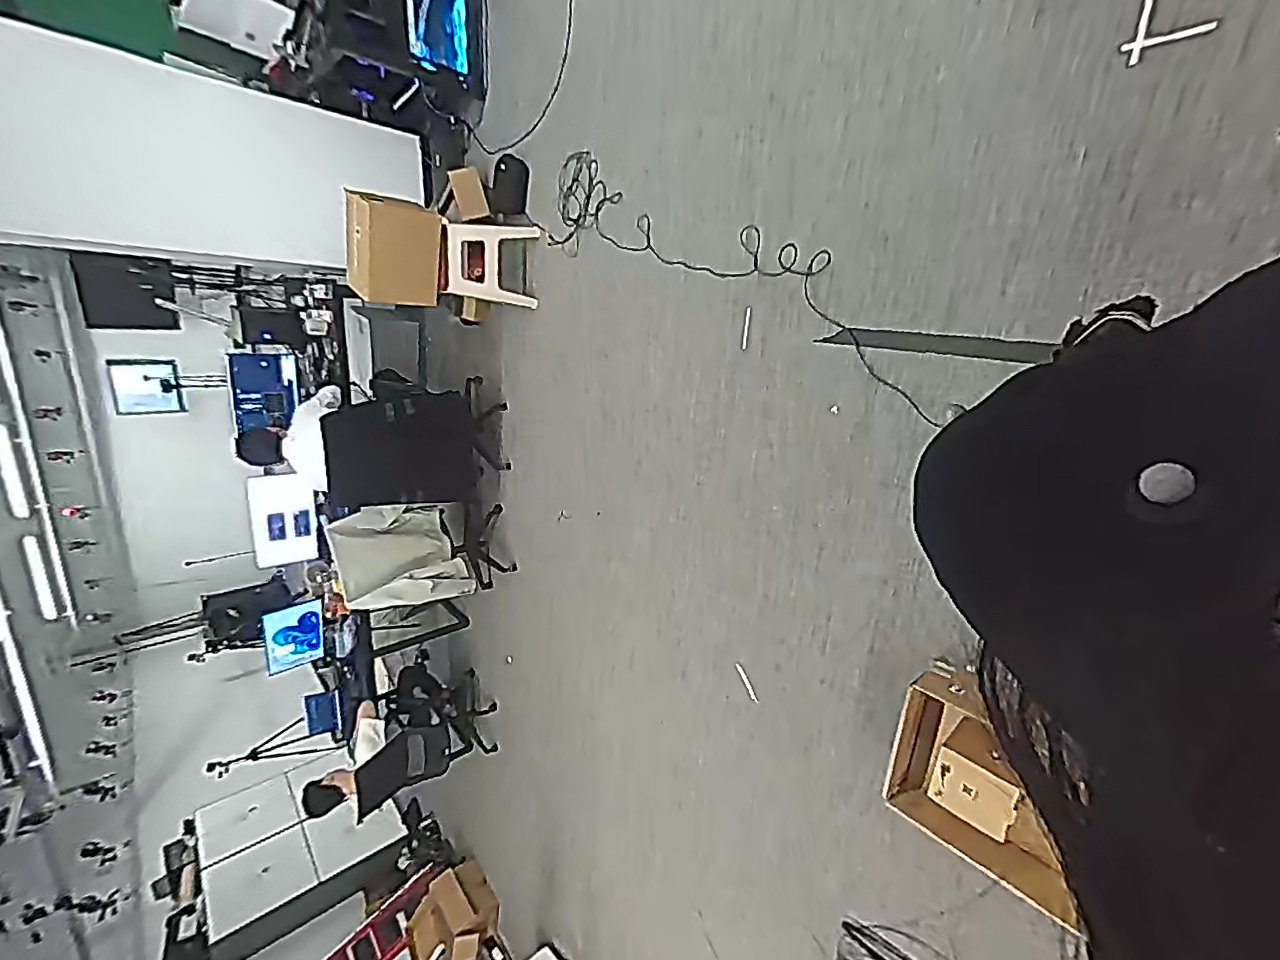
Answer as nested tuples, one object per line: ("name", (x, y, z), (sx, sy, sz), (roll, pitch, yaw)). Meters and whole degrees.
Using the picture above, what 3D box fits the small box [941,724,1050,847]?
("small box", (0.887, 0.747, 1.345), (0.179, 0.176, 0.168), (20, 112, 43))
